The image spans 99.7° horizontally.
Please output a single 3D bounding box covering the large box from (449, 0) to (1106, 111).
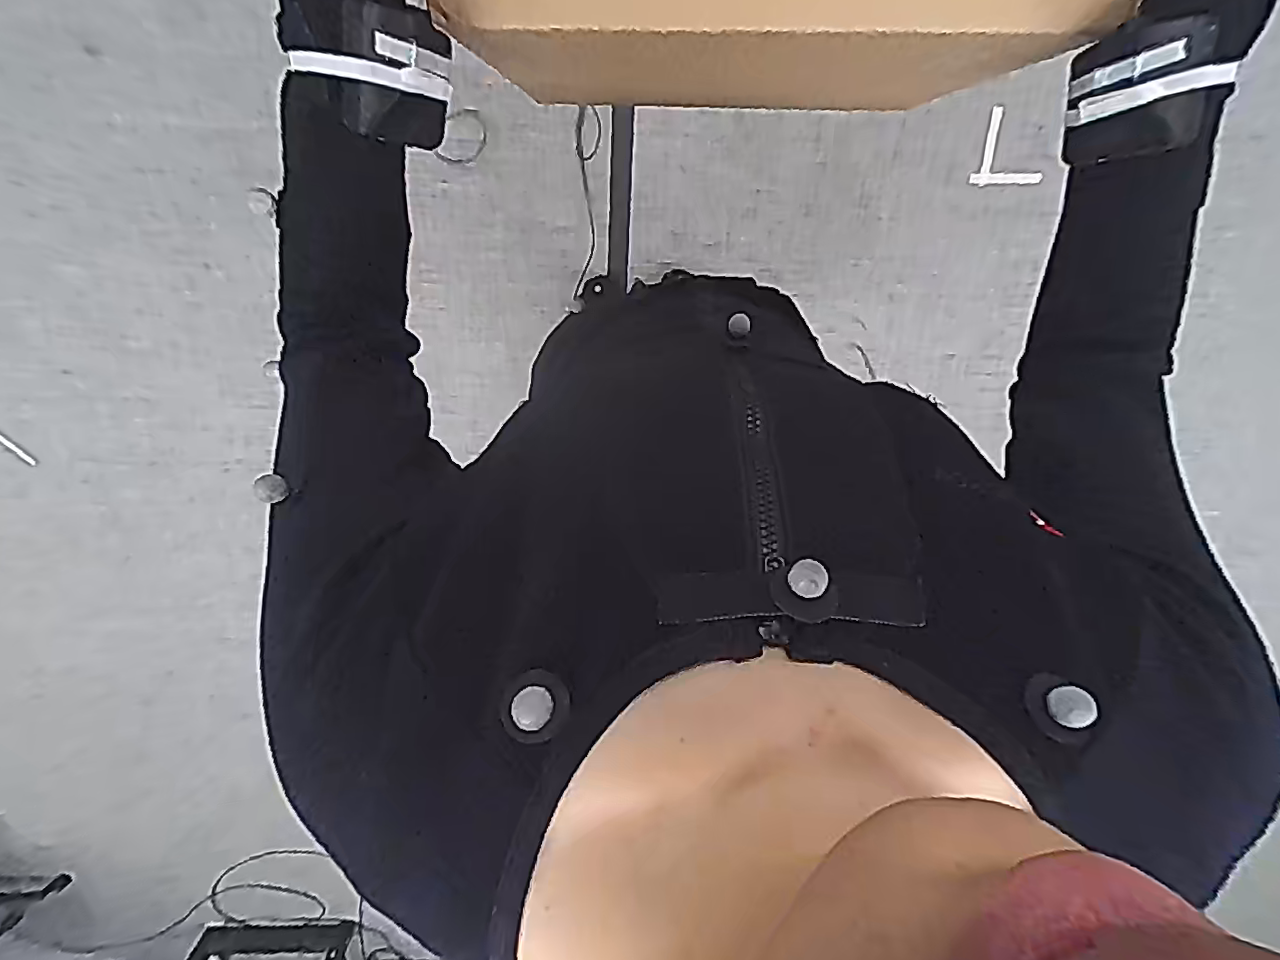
[{"bbox_3d":[0.080,-0.479,0.393,0.408,0.320,0.320,0,118,0],"label":"large box"}]
